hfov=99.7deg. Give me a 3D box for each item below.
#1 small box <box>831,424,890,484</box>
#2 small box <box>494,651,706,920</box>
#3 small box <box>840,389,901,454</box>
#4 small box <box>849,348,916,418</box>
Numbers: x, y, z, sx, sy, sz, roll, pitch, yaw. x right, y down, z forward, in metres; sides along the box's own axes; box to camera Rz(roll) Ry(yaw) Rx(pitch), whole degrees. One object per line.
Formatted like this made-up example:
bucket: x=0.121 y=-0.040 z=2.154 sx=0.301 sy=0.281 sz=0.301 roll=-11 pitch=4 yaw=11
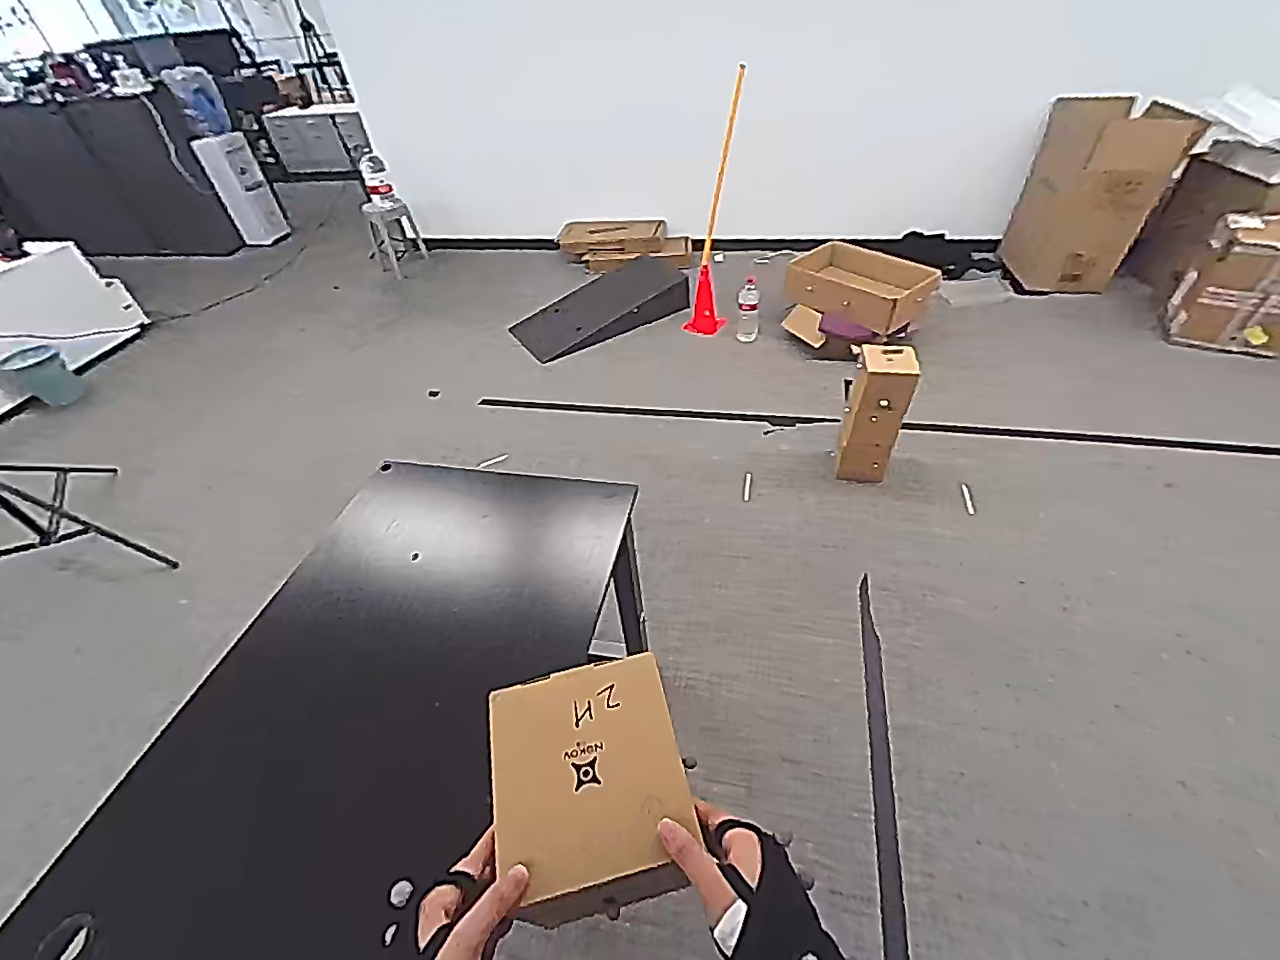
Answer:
small box: x=0.855 y=-0.100 z=2.109 sx=0.179 sy=0.176 sz=0.168 roll=4 pitch=43 yaw=12
small box: x=-0.036 y=0.302 z=0.529 sx=0.168 sy=0.176 sz=0.179 roll=-13 pitch=46 yaw=-5
small box: x=0.843 y=-0.219 z=1.996 sx=0.168 sy=0.176 sz=0.179 roll=4 pitch=43 yaw=10
small box: x=0.836 y=-0.339 z=1.883 sx=0.168 sy=0.176 sz=0.179 roll=4 pitch=44 yaw=10
